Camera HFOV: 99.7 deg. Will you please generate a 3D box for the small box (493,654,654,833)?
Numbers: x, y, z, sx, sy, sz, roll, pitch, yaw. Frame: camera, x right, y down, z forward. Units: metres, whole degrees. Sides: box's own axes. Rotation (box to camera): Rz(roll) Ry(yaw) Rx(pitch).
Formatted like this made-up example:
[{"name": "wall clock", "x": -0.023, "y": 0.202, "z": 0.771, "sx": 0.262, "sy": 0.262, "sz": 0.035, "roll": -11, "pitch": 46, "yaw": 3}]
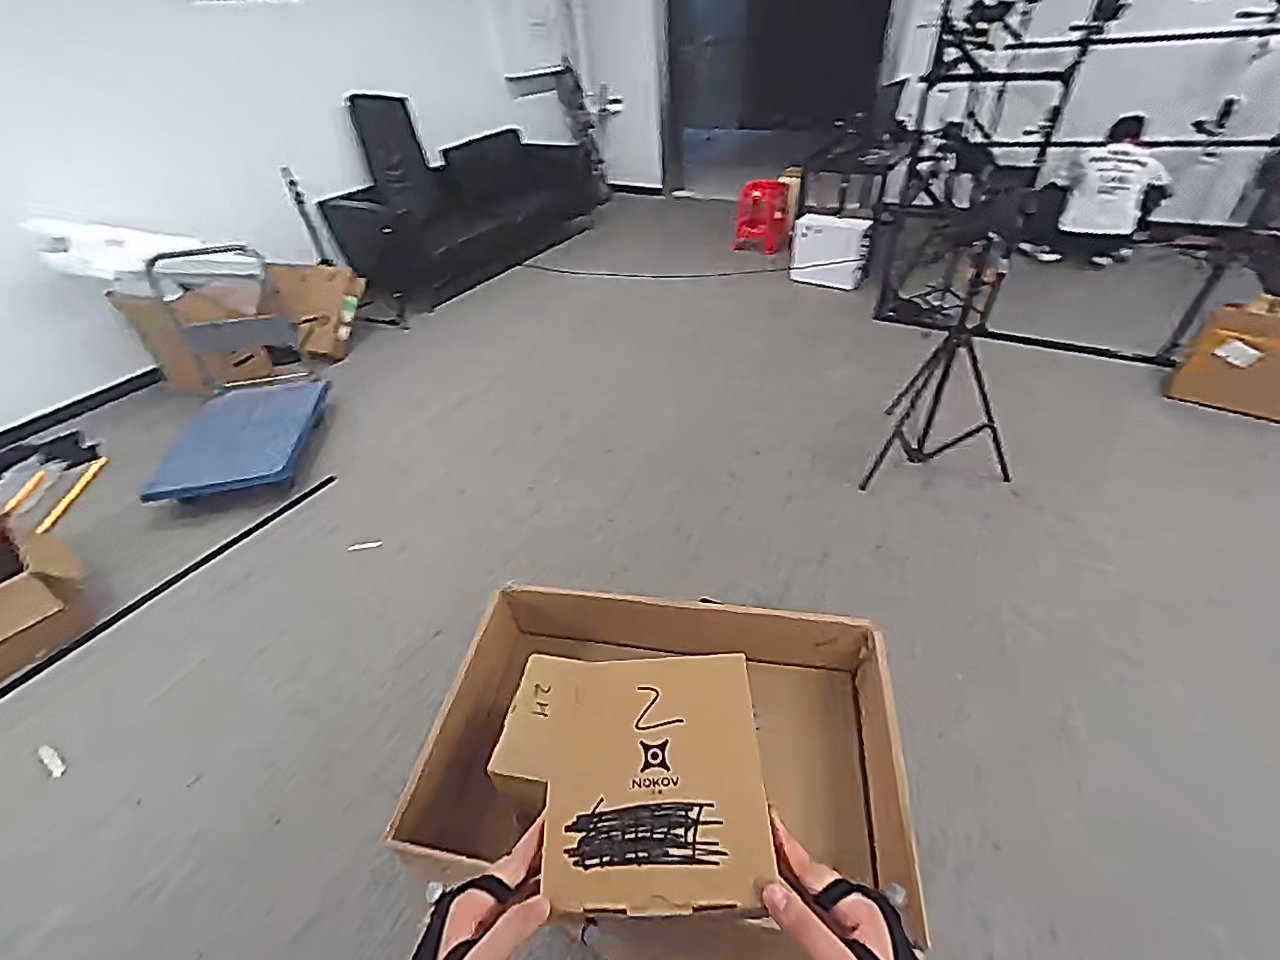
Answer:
[{"name": "small box", "x": -0.079, "y": 0.375, "z": 0.769, "sx": 0.179, "sy": 0.176, "sz": 0.168, "roll": 5, "pitch": 42, "yaw": 12}]
